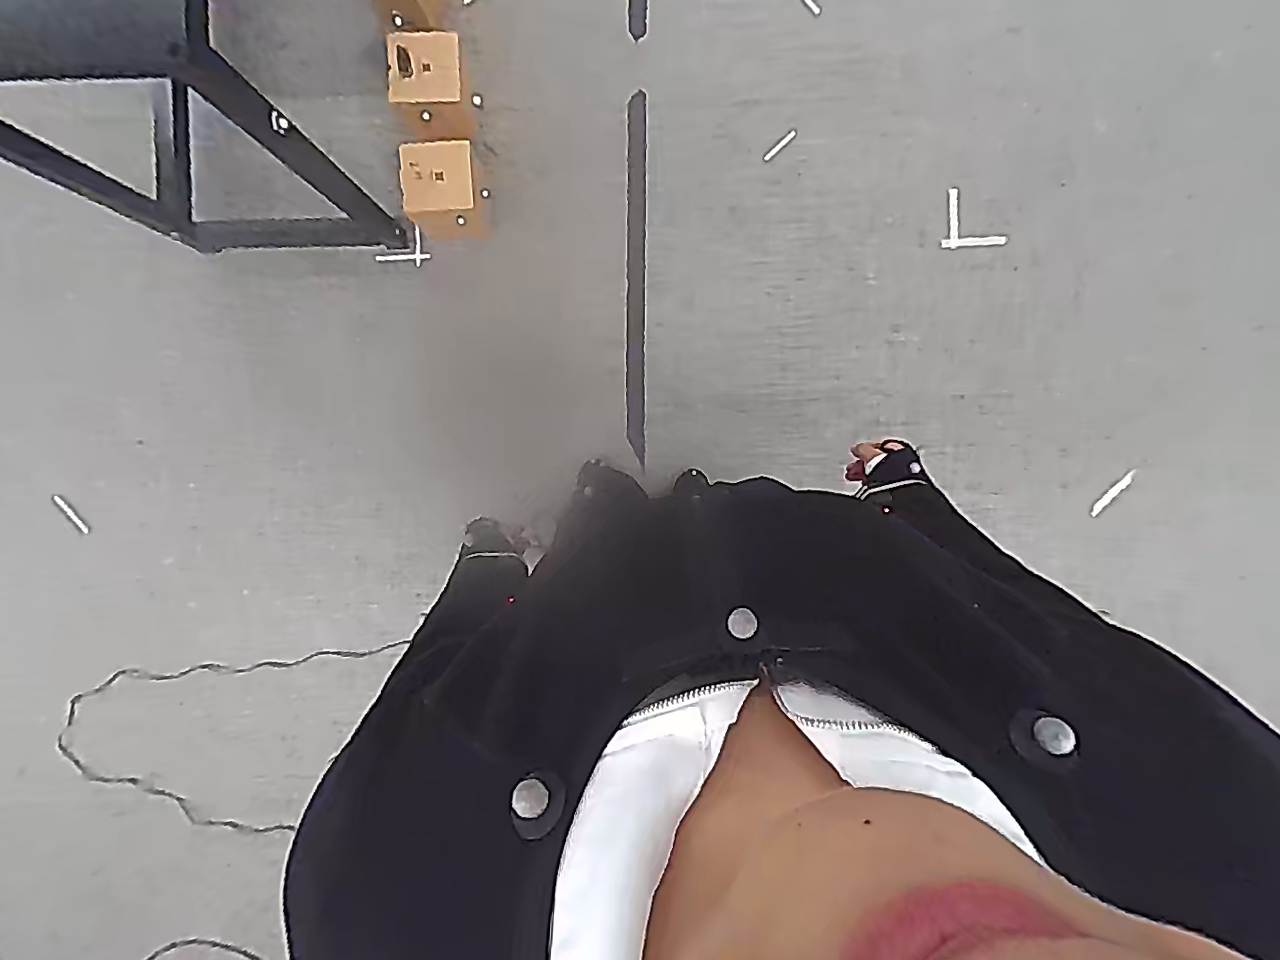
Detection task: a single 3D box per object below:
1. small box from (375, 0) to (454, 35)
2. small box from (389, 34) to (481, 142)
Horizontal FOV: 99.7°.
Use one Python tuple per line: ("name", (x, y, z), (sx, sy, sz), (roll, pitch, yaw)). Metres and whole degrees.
("small box", (-0.590, -1.294, 1.383), (0.168, 0.176, 0.179), (21, 94, 1))
("small box", (-0.522, -1.000, 1.393), (0.179, 0.176, 0.168), (-1, 93, 0))
